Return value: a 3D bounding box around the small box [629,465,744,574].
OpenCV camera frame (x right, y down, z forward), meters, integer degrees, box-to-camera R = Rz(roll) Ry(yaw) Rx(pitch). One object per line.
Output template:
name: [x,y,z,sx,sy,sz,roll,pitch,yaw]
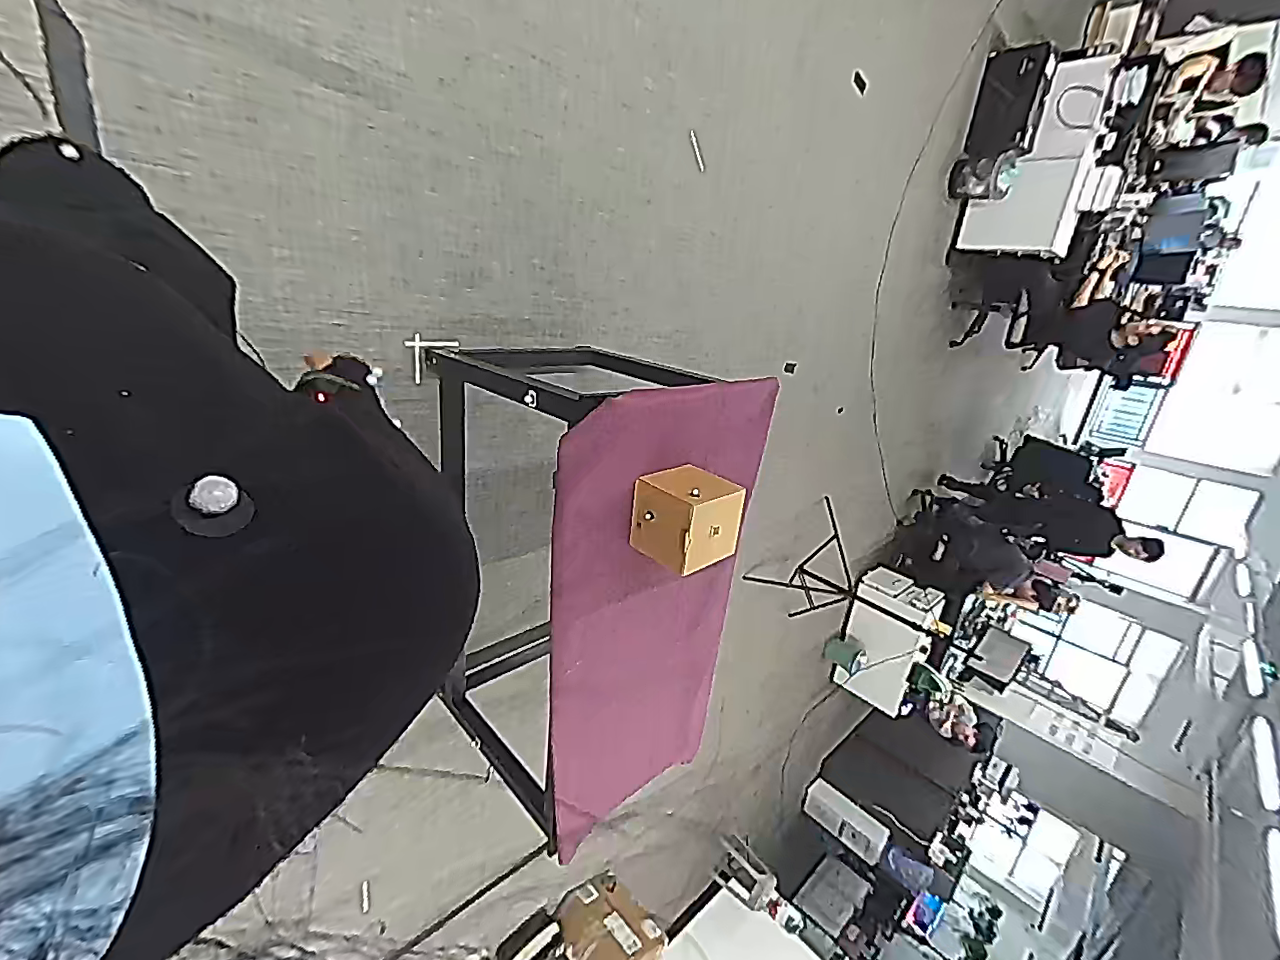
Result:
small box: [0.099,0.078,1.195,0.179,0.176,0.168,-15,120,-41]
